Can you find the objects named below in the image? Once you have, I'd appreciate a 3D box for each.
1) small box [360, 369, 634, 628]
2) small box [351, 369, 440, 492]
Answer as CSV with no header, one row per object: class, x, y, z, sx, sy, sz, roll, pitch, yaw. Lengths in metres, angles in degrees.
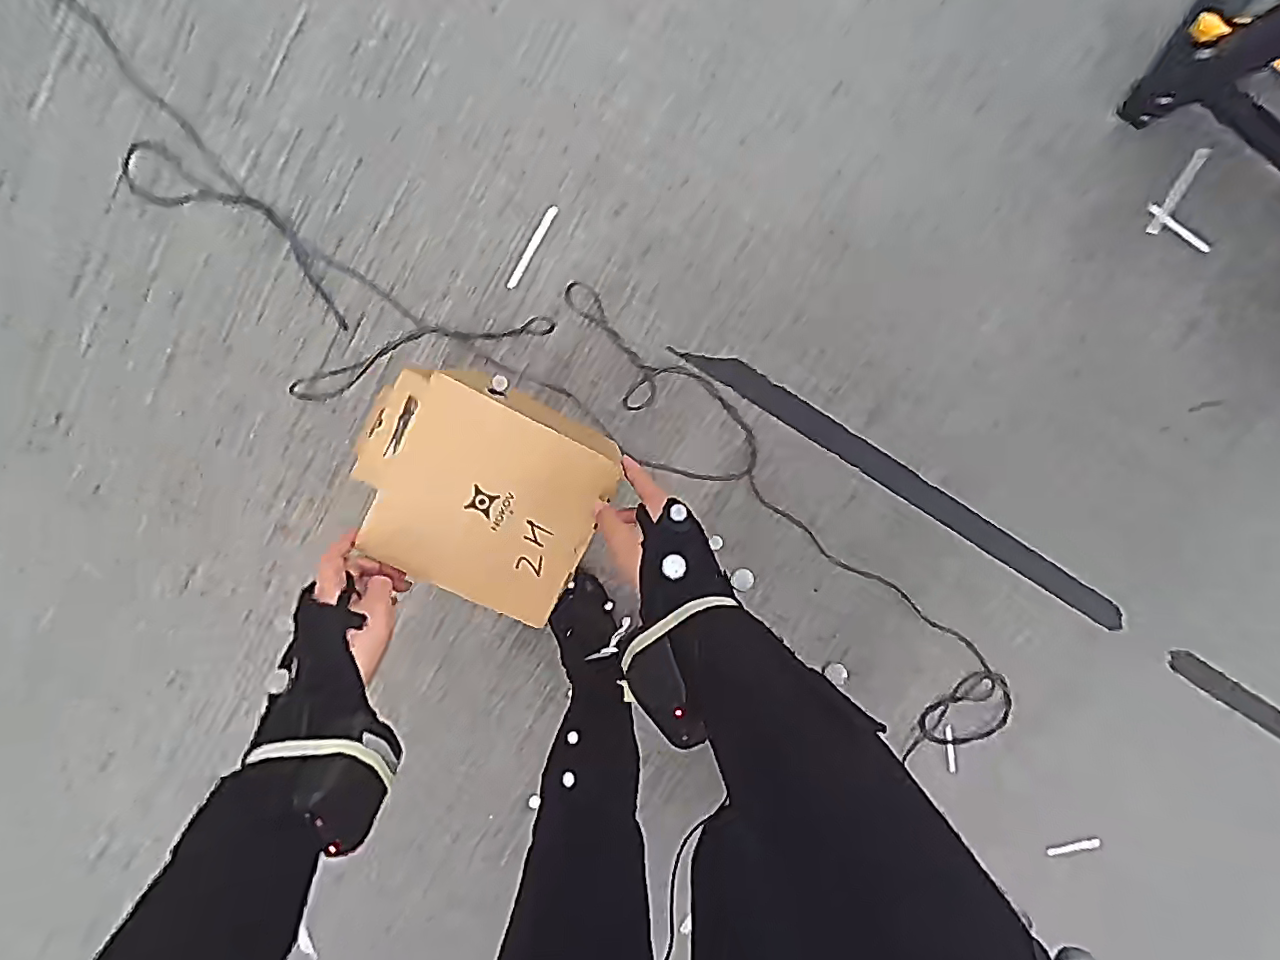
small box,-0.126,0.007,0.527,0.179,0.176,0.168,27,97,-11
small box,-0.285,-0.050,0.811,0.179,0.176,0.168,29,97,-10
